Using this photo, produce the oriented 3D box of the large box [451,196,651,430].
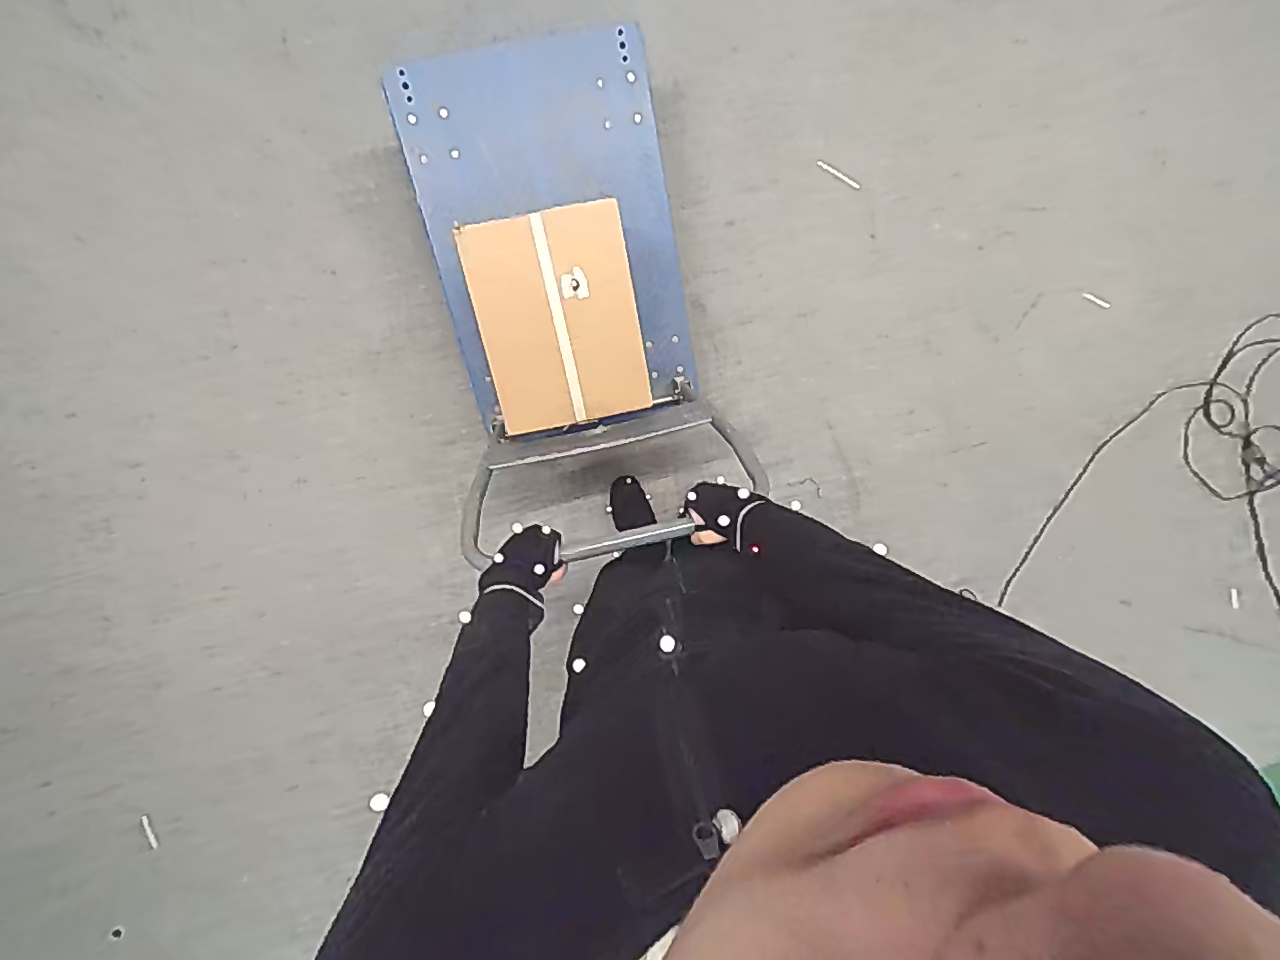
[{"bbox_3d":[-0.177,-0.361,1.208,0.320,0.320,0.408,-12,109,-3],"label":"large box"}]
